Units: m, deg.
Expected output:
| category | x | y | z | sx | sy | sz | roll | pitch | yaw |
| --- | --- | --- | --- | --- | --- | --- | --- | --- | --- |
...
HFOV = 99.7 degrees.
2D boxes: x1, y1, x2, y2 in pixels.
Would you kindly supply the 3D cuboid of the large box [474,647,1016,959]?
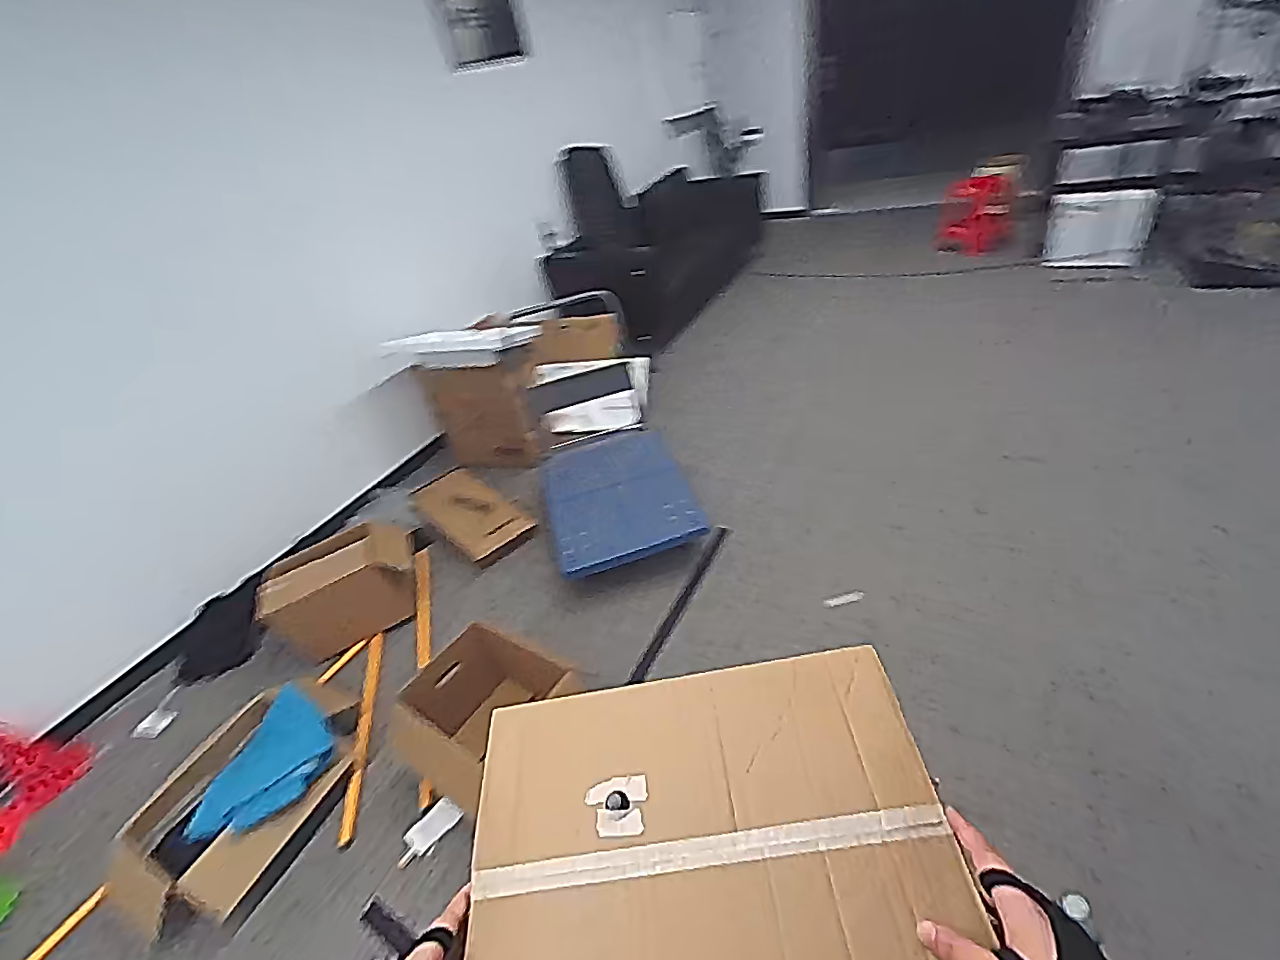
| category | x | y | z | sx | sy | sz | roll | pitch | yaw |
| --- | --- | --- | --- | --- | --- | --- | --- | --- | --- |
| large box | 0.094 | 0.414 | 0.547 | 0.408 | 0.320 | 0.320 | -13 | 43 | 7 |
